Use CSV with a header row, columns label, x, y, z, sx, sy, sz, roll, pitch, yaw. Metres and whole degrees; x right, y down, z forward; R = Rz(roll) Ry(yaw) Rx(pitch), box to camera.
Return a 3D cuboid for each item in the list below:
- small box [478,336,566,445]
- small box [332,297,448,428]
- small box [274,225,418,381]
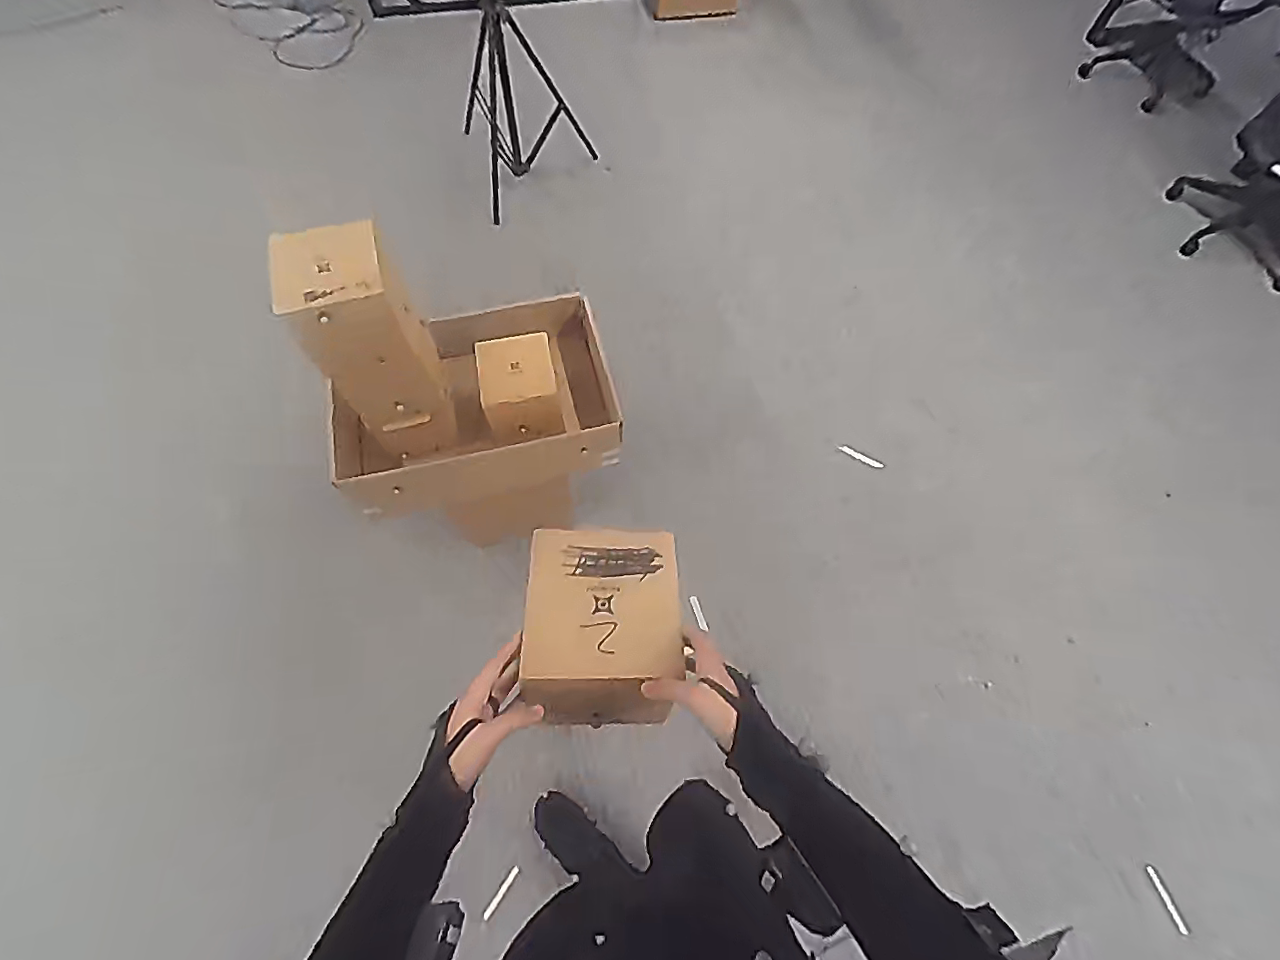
label,x,y,z,sx,sy,sz,roll,pitch,yaw
small box,-0.274,-0.207,1.268,0.168,0.176,0.179,-11,66,-6
small box,-0.502,-0.233,1.090,0.168,0.176,0.179,-15,66,-9
small box,-0.504,-0.303,0.940,0.168,0.176,0.179,-16,65,-9
